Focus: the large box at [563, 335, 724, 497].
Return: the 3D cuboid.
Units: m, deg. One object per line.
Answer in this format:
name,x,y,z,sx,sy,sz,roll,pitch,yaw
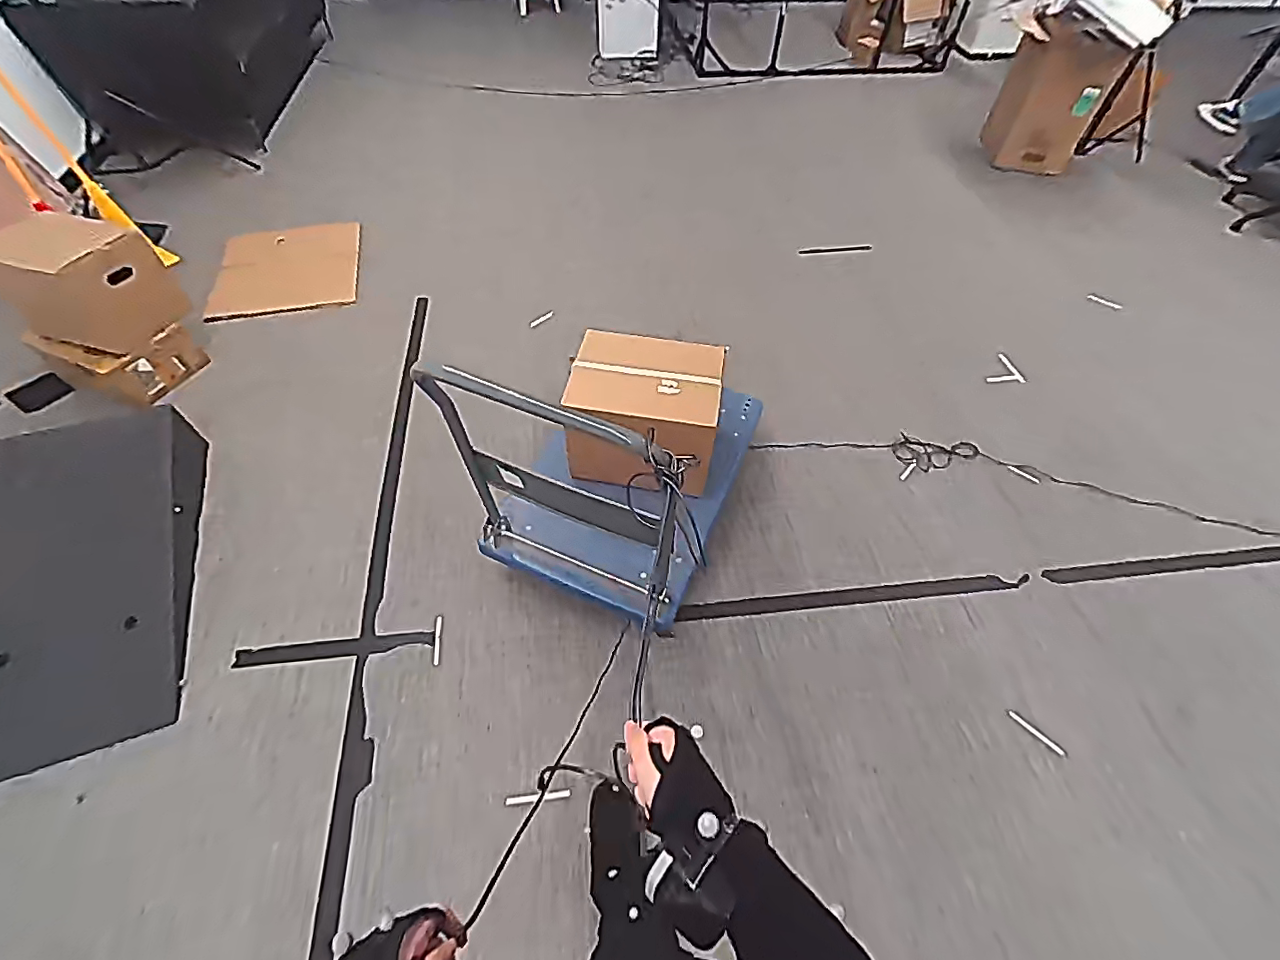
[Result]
large box,0.012,-0.181,1.570,0.408,0.320,0.320,9,54,4
